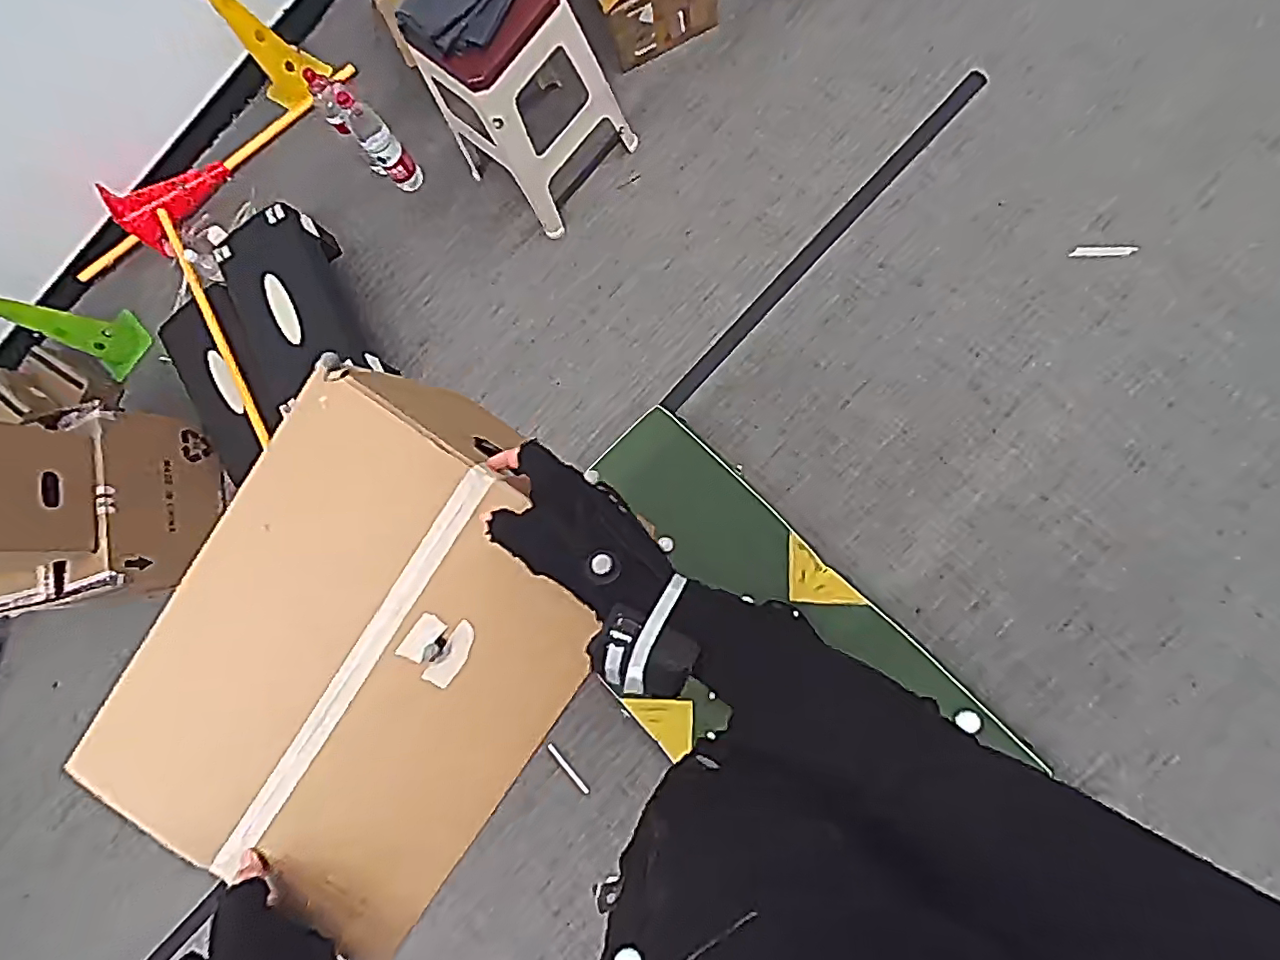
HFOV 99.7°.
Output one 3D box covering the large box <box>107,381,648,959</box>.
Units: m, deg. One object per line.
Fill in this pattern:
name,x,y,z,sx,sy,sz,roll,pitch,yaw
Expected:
large box,-0.224,0.162,0.604,0.320,0.320,0.408,34,92,0
